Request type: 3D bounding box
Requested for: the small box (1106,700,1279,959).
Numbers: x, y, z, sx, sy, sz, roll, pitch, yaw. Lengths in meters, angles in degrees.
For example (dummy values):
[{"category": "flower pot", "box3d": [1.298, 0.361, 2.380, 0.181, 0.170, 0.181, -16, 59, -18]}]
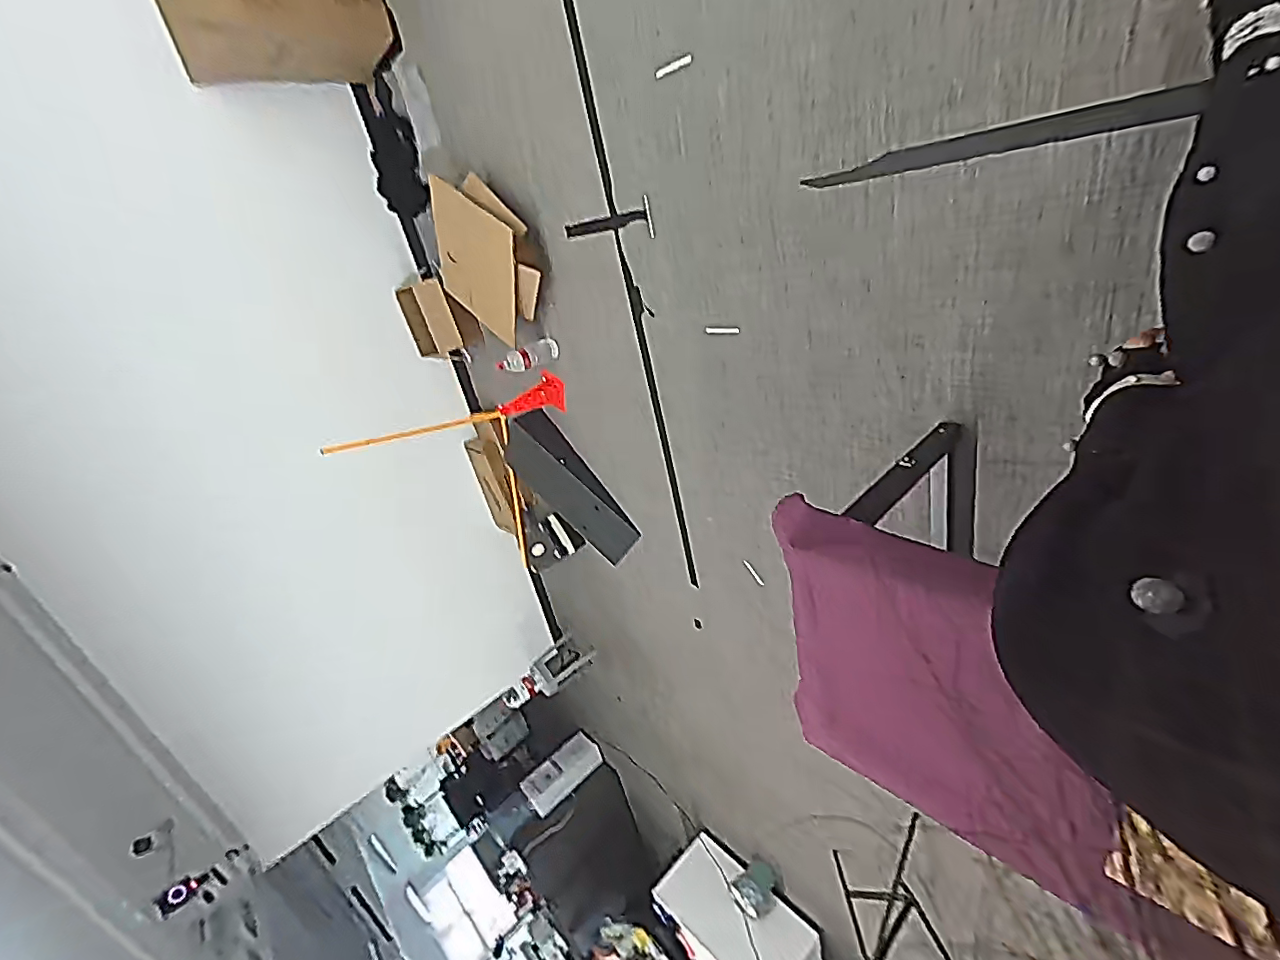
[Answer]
[{"category": "small box", "box3d": [0.703, 0.413, 0.655, 0.168, 0.176, 0.179, 16, 129, 47]}]
